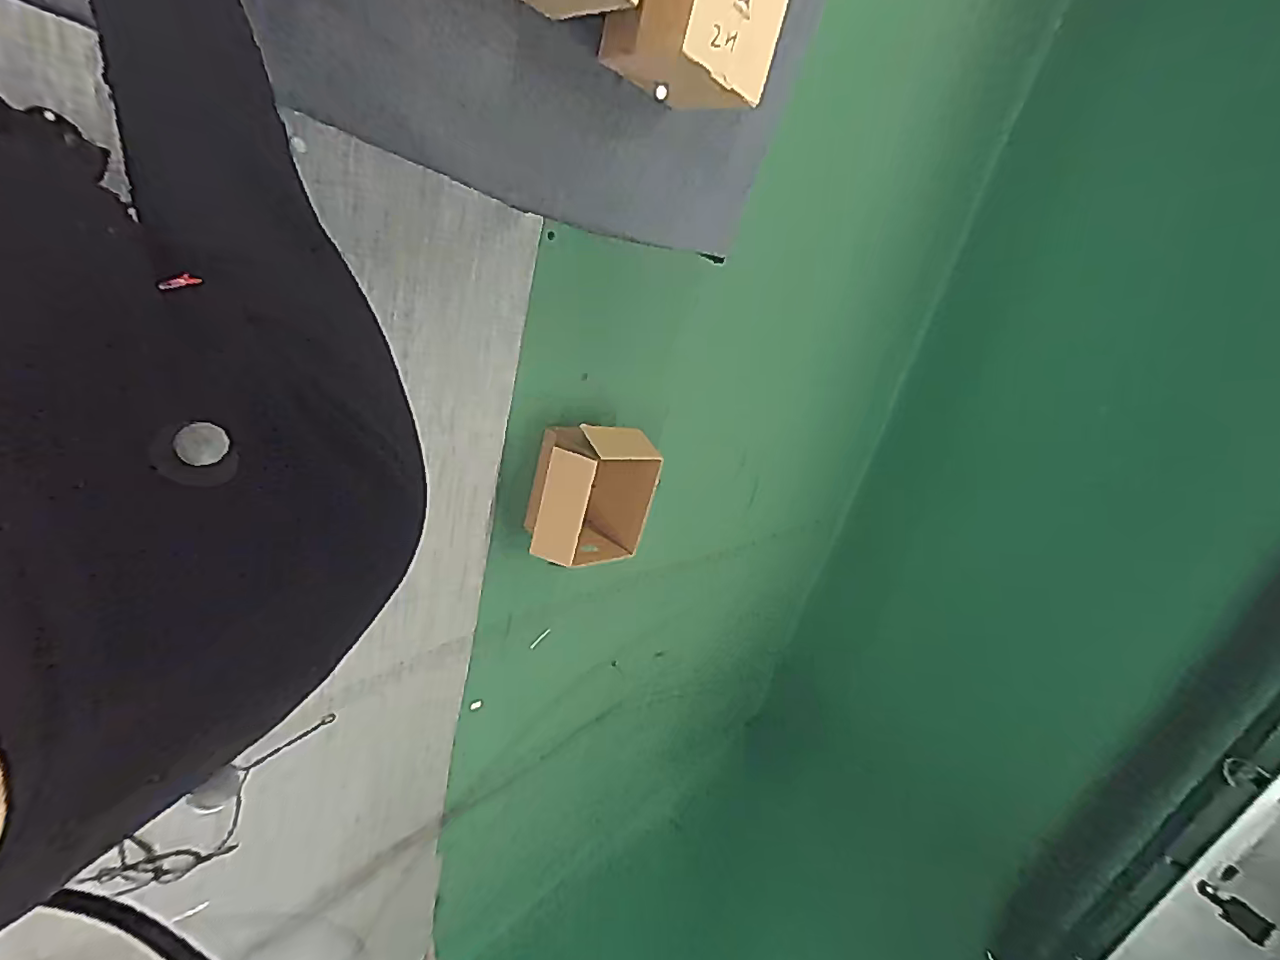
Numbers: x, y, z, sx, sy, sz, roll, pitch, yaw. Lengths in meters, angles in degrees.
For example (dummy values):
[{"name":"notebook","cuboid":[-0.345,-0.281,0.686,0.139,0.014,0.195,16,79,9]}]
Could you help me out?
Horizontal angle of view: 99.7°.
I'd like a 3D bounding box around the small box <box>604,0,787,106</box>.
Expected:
[{"name":"small box","cuboid":[0.074,-0.633,0.724,0.168,0.176,0.179,-5,118,-45]}]
